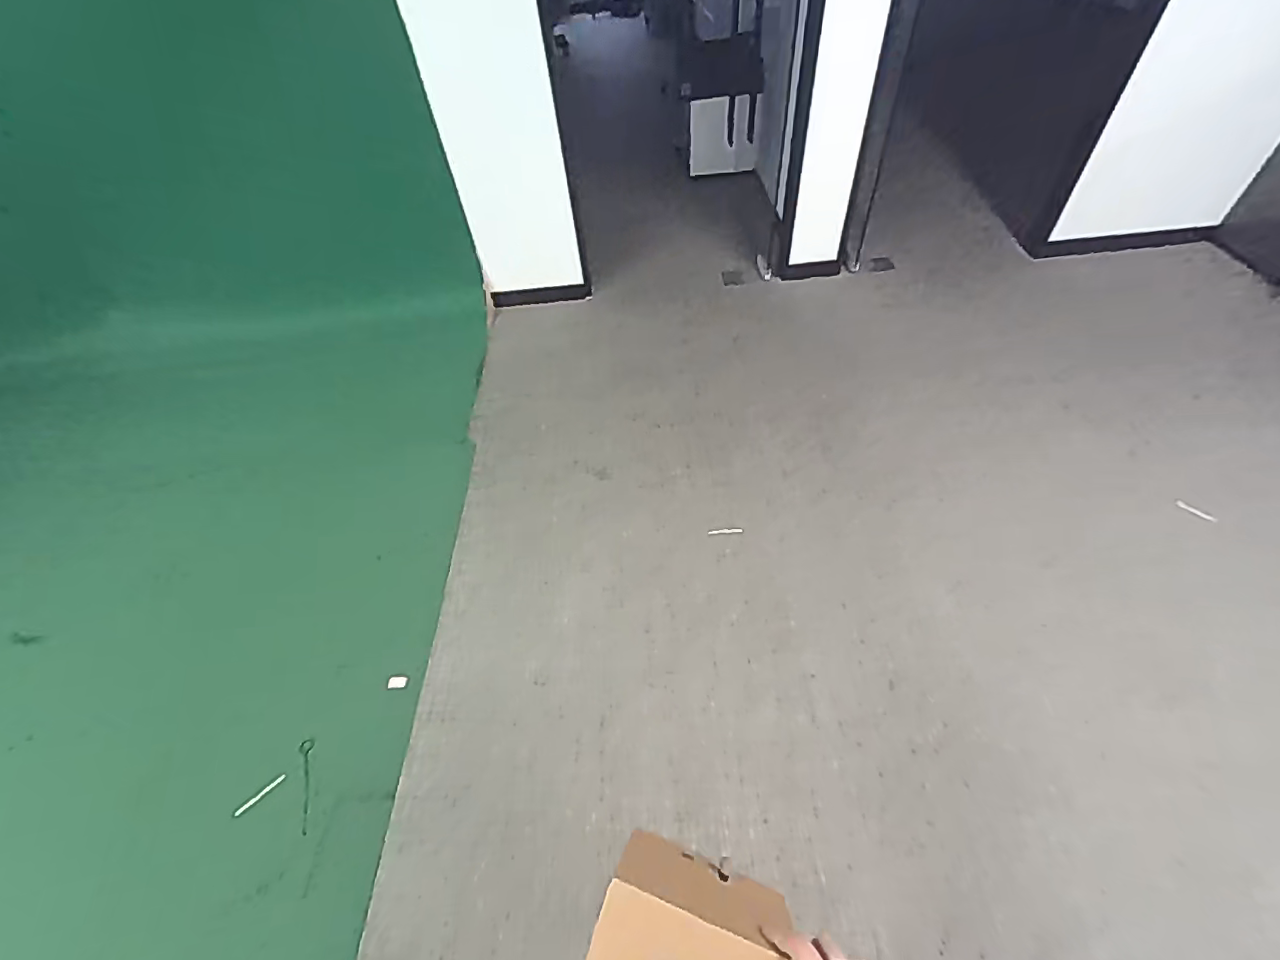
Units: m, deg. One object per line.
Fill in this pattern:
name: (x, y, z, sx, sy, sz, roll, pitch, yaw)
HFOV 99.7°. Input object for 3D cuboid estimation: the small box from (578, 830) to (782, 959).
small box: (0.028, 0.463, 0.492, 0.168, 0.176, 0.179, 17, 73, 13)
